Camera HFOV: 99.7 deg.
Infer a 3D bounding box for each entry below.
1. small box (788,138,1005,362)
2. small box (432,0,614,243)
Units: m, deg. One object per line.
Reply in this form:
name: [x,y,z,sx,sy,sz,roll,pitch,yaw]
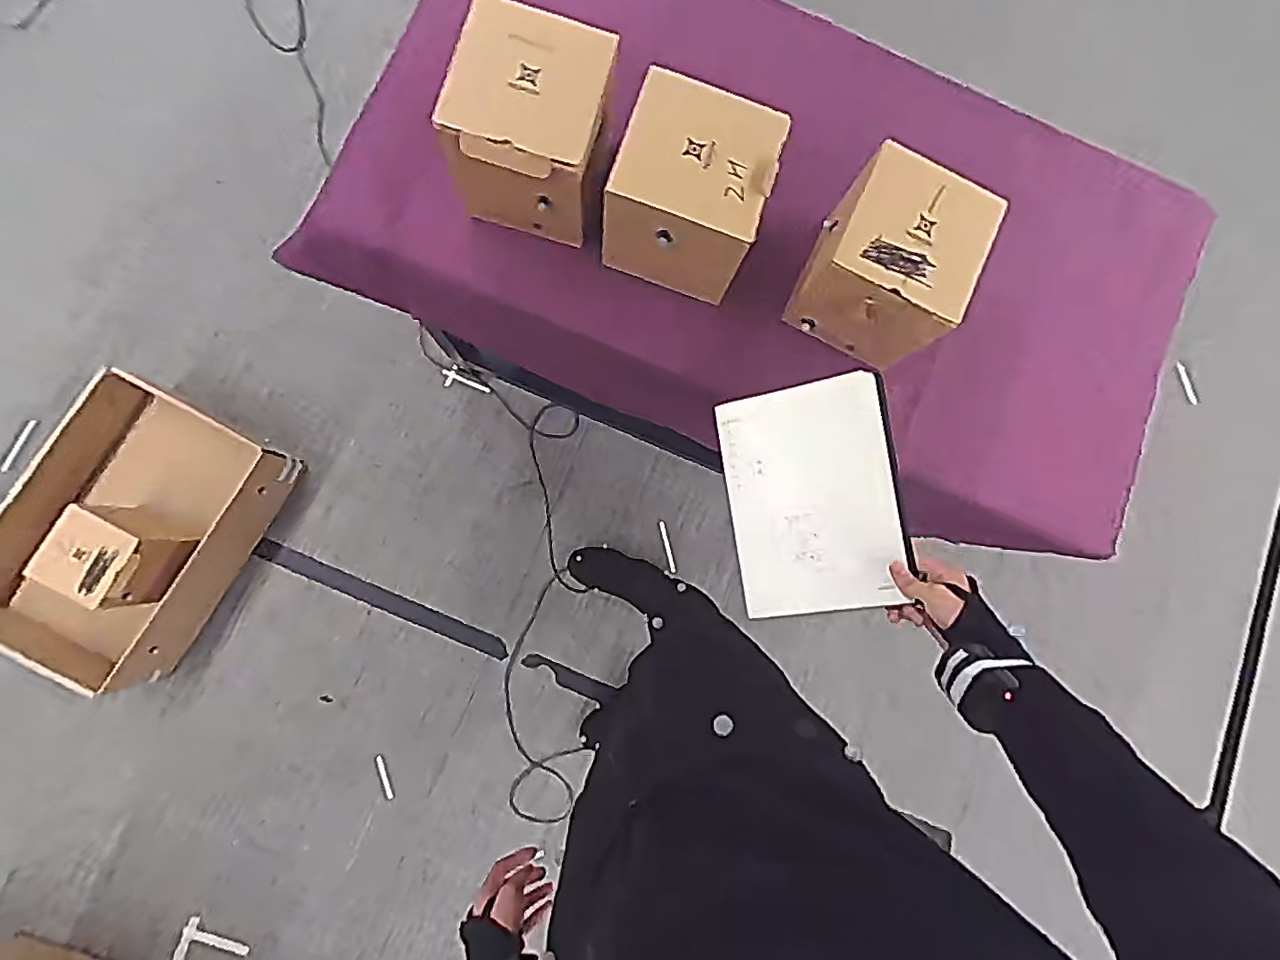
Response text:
small box: [0.314,-0.279,0.700,0.168,0.176,0.179,26,82,-2]
small box: [-0.134,-0.432,0.678,0.168,0.176,0.179,15,83,-4]
